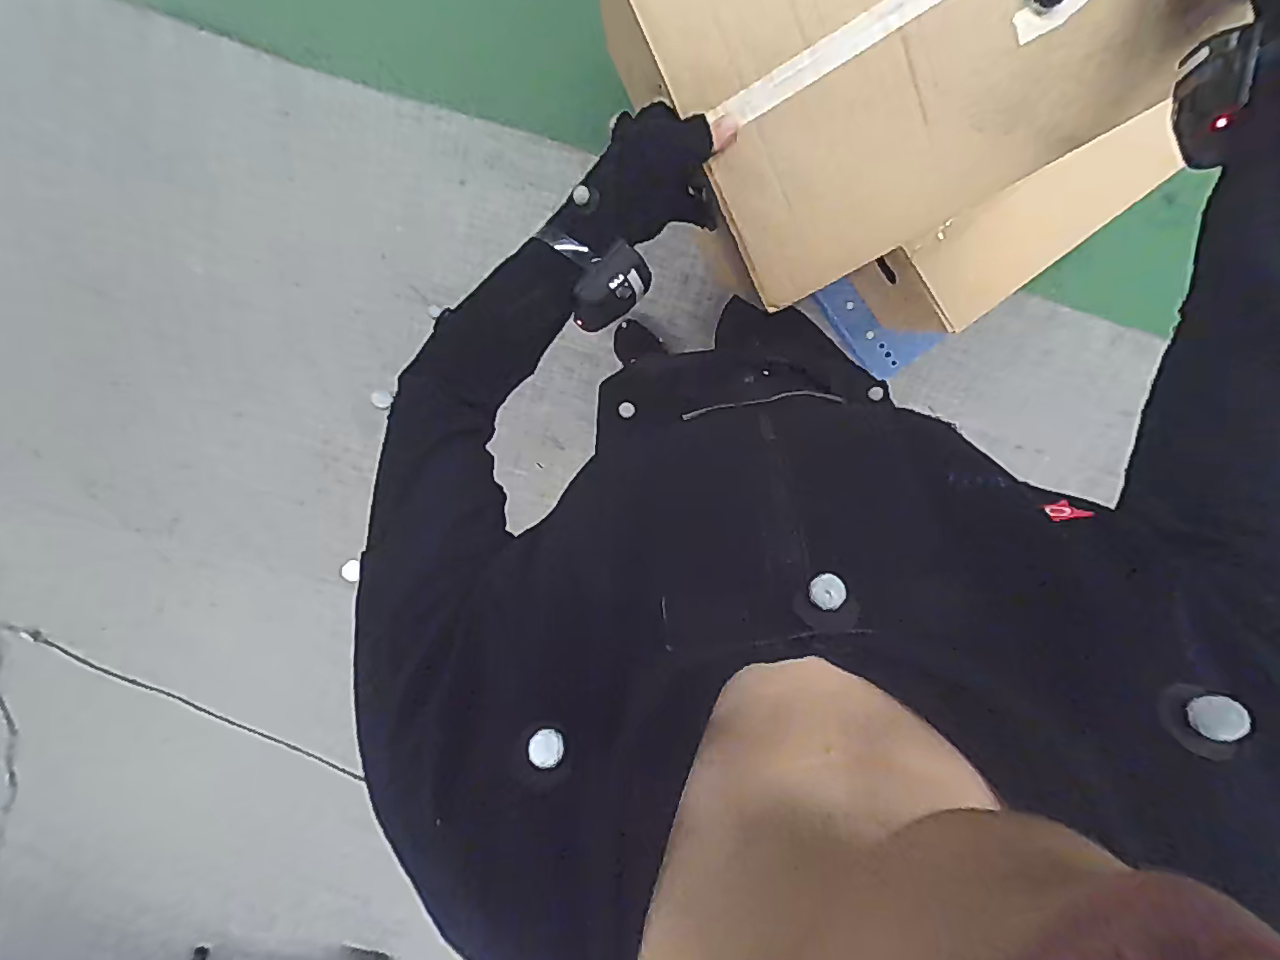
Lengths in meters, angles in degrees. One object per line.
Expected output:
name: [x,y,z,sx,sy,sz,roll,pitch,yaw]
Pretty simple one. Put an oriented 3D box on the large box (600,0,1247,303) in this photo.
large box: [0.208,-0.422,0.528,0.408,0.320,0.320,-28,111,10]
